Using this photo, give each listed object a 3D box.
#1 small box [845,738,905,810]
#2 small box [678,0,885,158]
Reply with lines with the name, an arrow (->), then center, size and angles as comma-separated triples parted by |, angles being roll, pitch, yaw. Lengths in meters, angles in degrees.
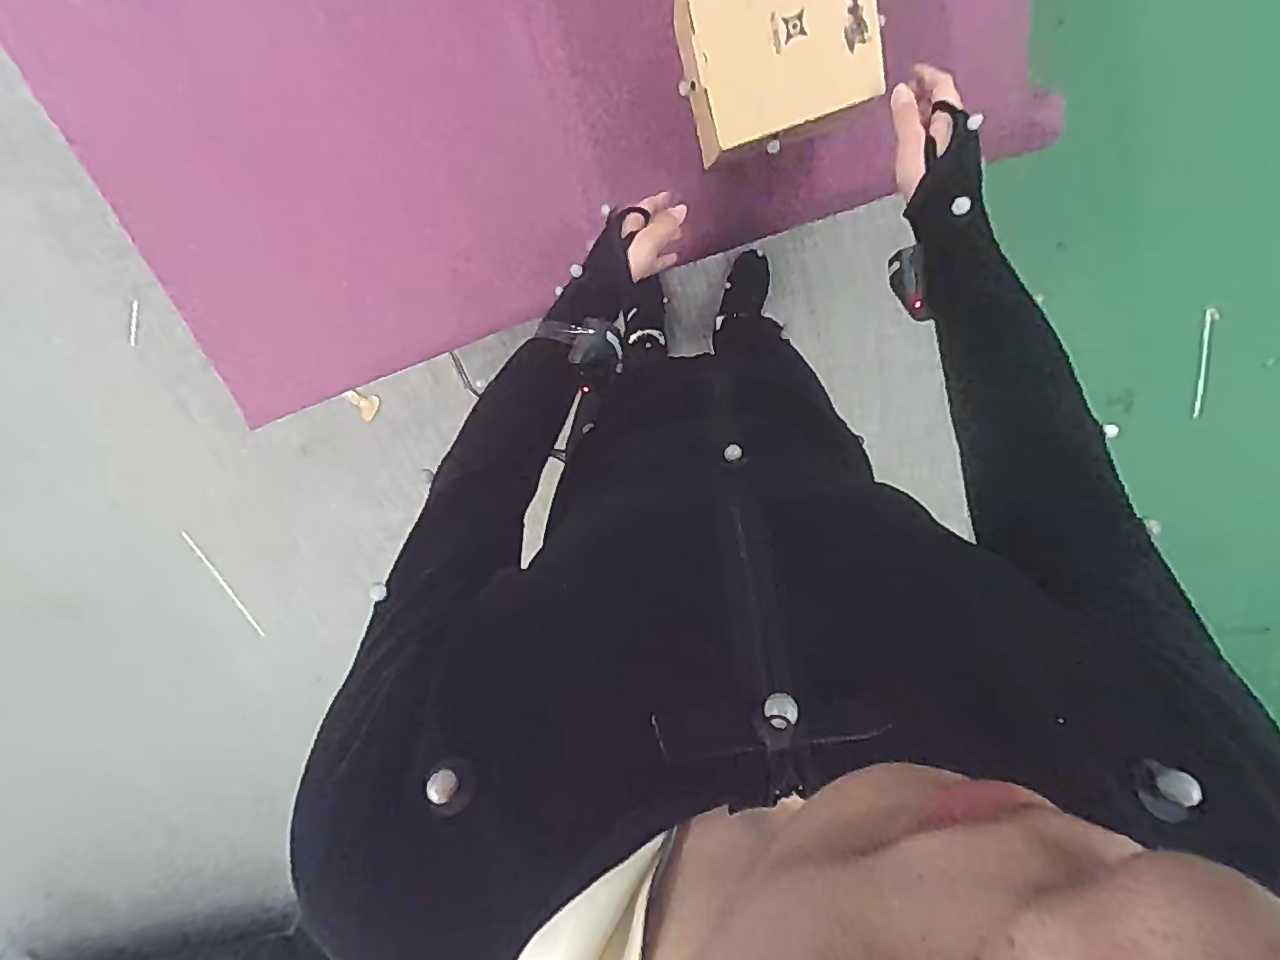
small box -> 0.912, 1.142, 2.102 | 0.168, 0.176, 0.179 | -13, 113, 8
small box -> 0.140, -0.471, 0.584 | 0.179, 0.176, 0.168 | -13, 112, 9
